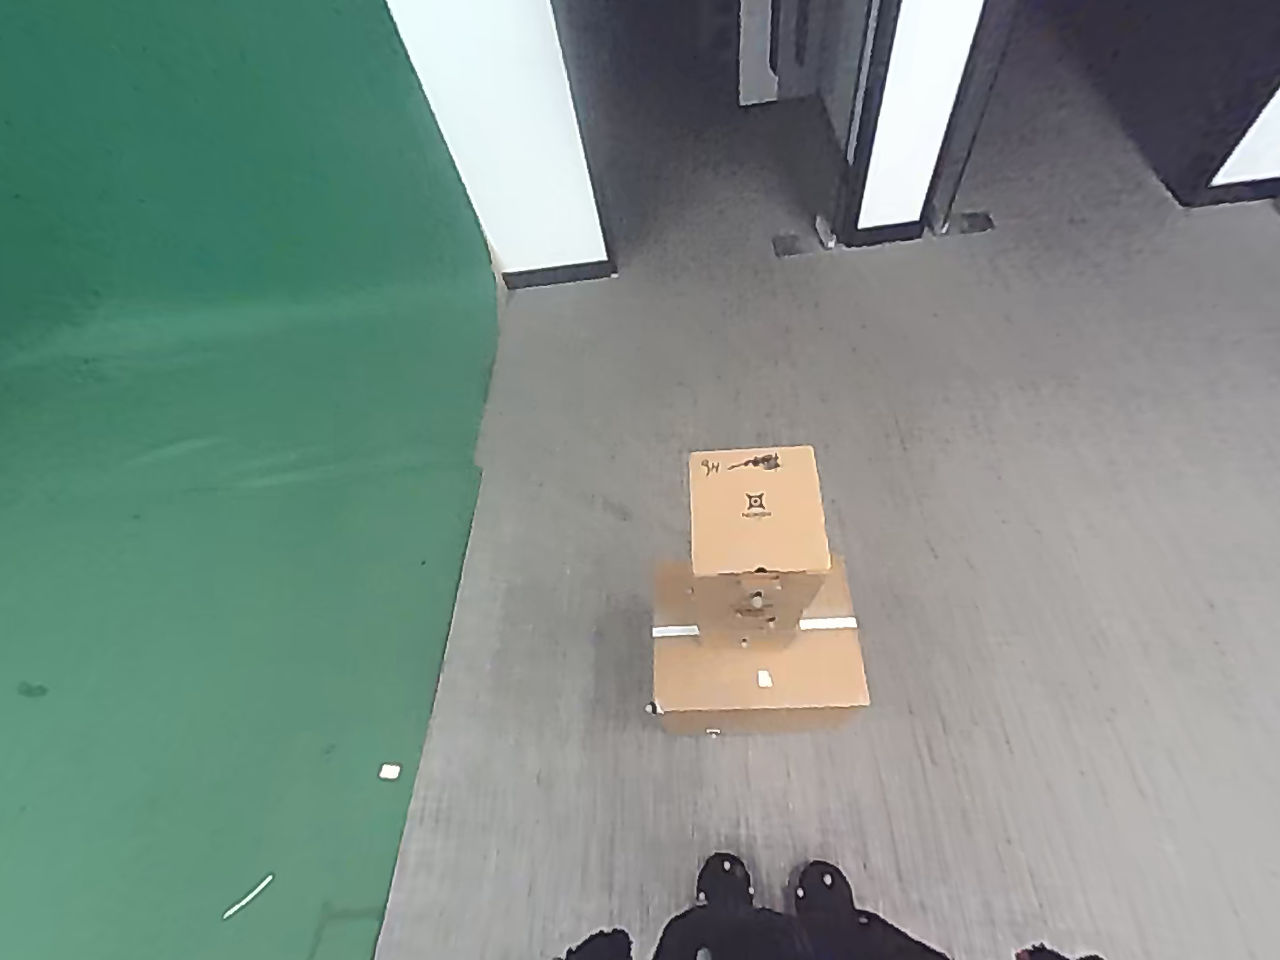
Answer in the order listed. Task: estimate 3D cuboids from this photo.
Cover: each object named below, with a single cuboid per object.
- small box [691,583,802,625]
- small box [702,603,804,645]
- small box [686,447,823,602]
[{"bbox_3d":[0.173,0.142,0.909,0.168,0.176,0.179,-2,62,8],"label":"small box"},{"bbox_3d":[0.206,0.220,1.047,0.179,0.176,0.168,-5,63,7],"label":"small box"},{"bbox_3d":[0.154,0.072,0.762,0.168,0.176,0.179,-3,64,8],"label":"small box"}]
